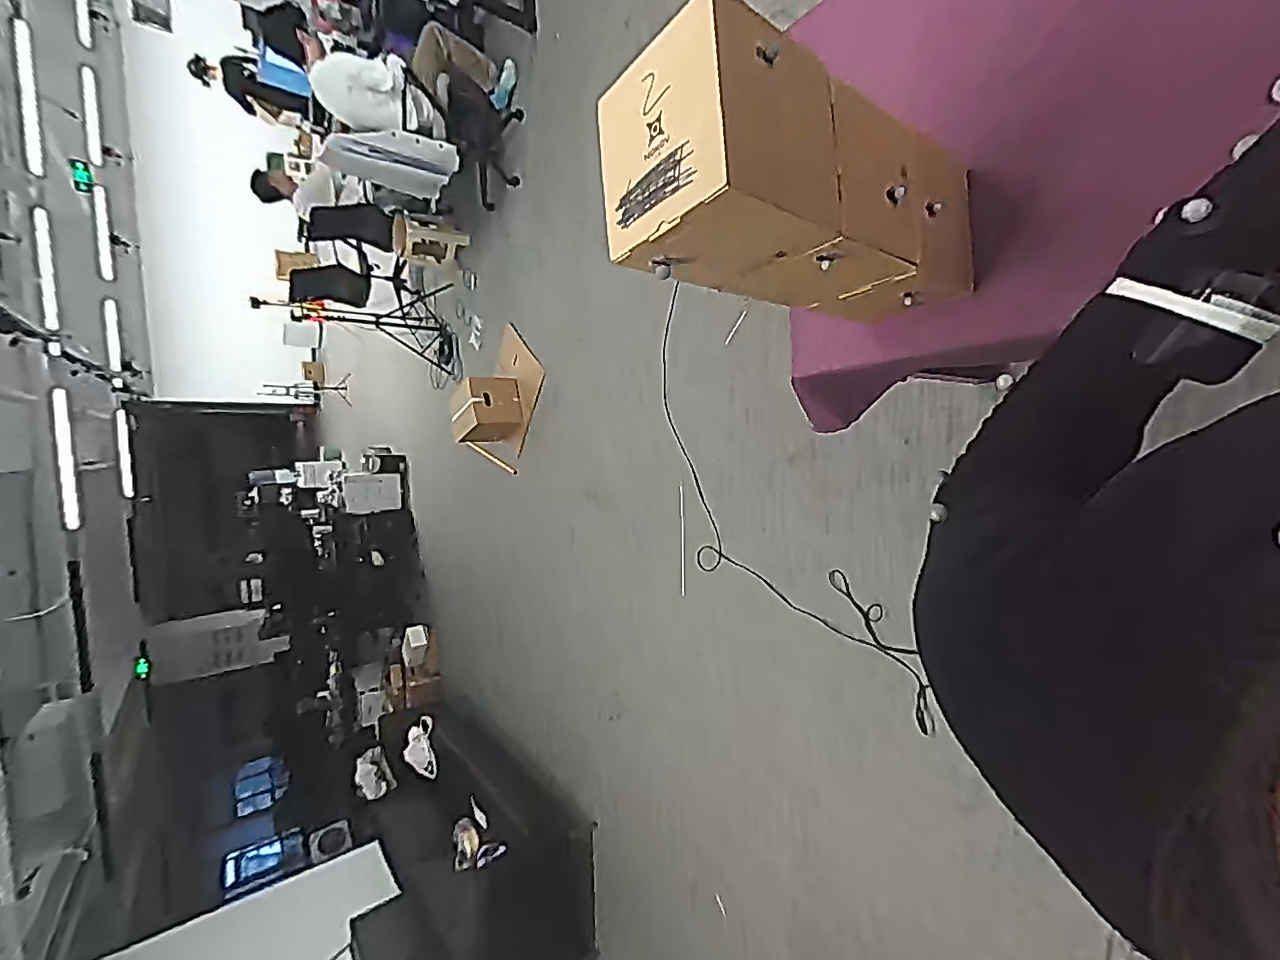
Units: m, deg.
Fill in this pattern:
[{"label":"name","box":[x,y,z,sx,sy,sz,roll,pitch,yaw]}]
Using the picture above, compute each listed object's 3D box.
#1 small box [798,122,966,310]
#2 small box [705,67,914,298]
[{"label":"small box","box":[0.333,-0.345,0.752,0.168,0.176,0.179,-2,92,51]},{"label":"small box","box":[0.203,-0.334,0.655,0.179,0.176,0.168,-5,90,50]}]
